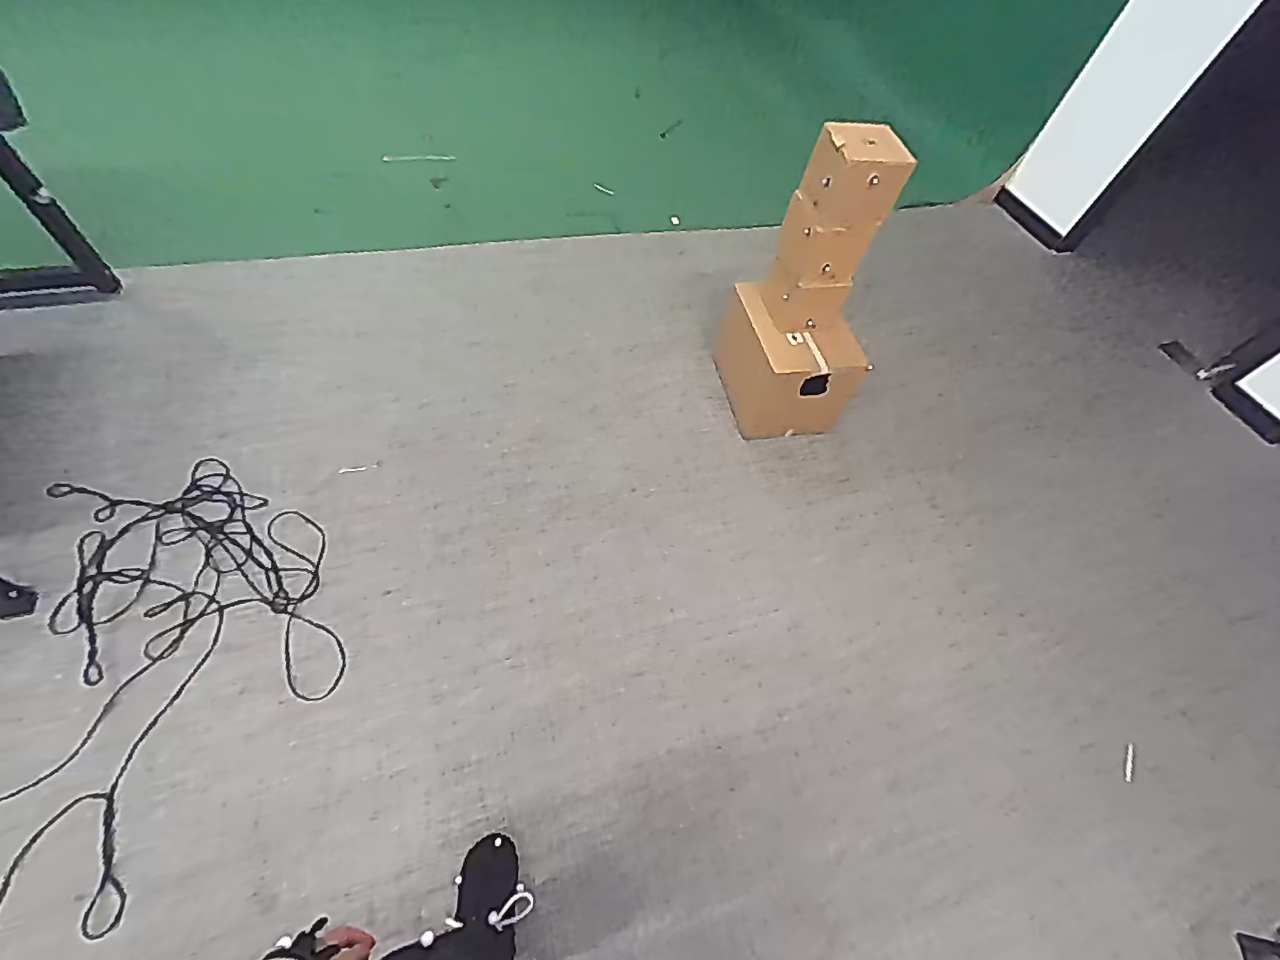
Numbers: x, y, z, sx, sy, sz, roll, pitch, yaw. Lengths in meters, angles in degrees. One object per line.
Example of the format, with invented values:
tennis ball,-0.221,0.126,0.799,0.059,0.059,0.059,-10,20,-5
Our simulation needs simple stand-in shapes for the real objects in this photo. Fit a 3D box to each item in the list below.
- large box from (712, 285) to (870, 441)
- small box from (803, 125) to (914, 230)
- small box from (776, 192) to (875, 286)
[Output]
large box,0.467,-0.385,1.775,0.320,0.320,0.408,-7,59,-12
small box,0.522,-0.737,1.329,0.179,0.176,0.168,-5,60,-13
small box,0.490,-0.648,1.461,0.168,0.176,0.179,-8,59,-14
